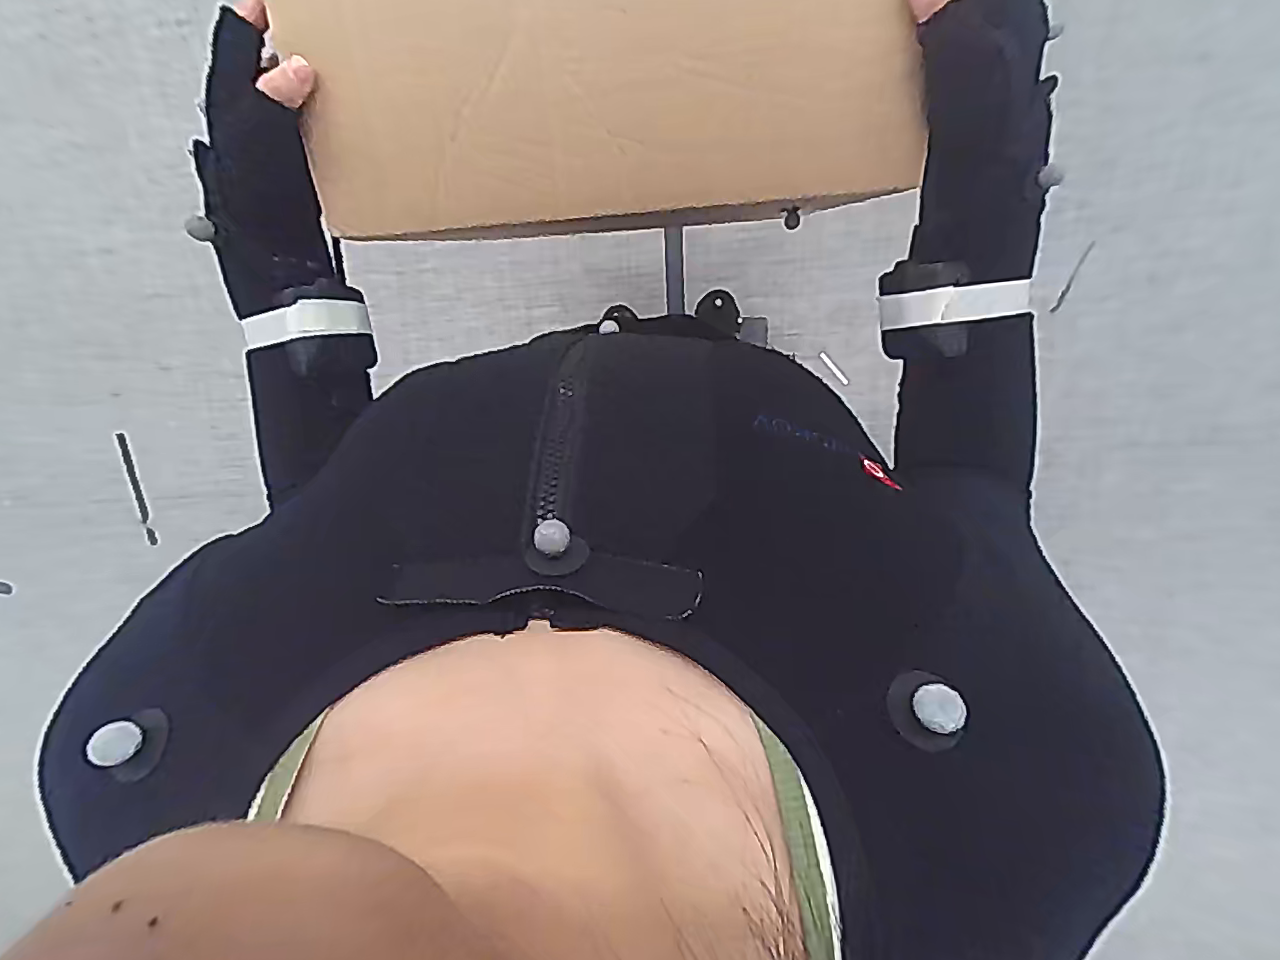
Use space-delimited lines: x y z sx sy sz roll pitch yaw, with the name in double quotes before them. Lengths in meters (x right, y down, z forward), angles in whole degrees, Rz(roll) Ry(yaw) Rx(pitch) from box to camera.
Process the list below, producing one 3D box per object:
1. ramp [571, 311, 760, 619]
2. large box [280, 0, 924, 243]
"ramp" 0.101 0.021 1.609 0.509 0.206 0.991 -4 107 4
"large box" -0.022 -0.386 0.454 0.408 0.320 0.320 -3 113 4
